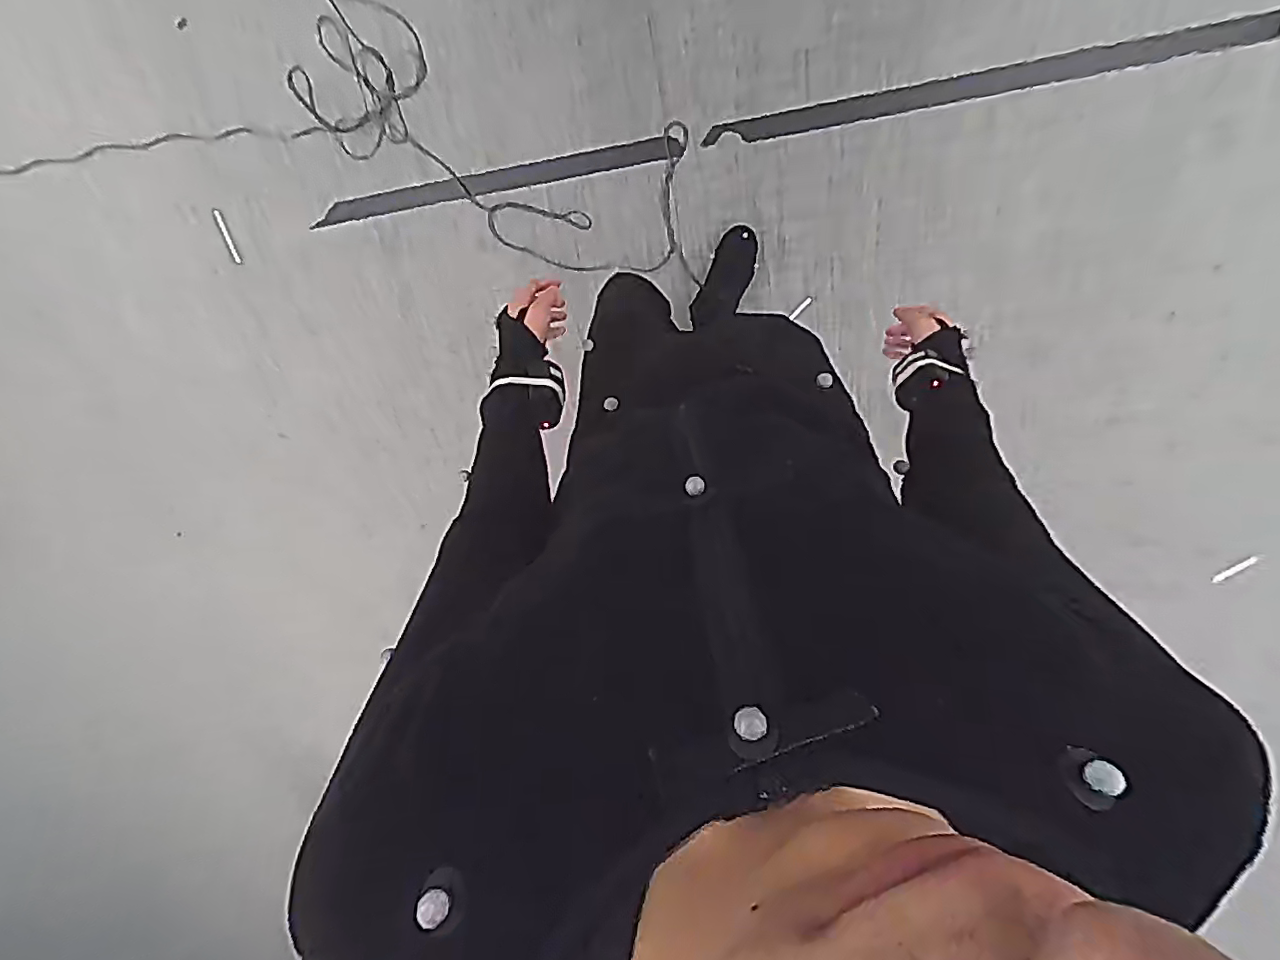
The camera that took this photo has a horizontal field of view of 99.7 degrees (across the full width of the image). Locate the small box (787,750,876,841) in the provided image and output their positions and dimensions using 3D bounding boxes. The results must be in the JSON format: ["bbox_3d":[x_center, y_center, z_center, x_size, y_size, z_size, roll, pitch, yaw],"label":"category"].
[{"bbox_3d":[0.465,0.788,1.328,0.179,0.176,0.168,-6,115,10],"label":"small box"}]
